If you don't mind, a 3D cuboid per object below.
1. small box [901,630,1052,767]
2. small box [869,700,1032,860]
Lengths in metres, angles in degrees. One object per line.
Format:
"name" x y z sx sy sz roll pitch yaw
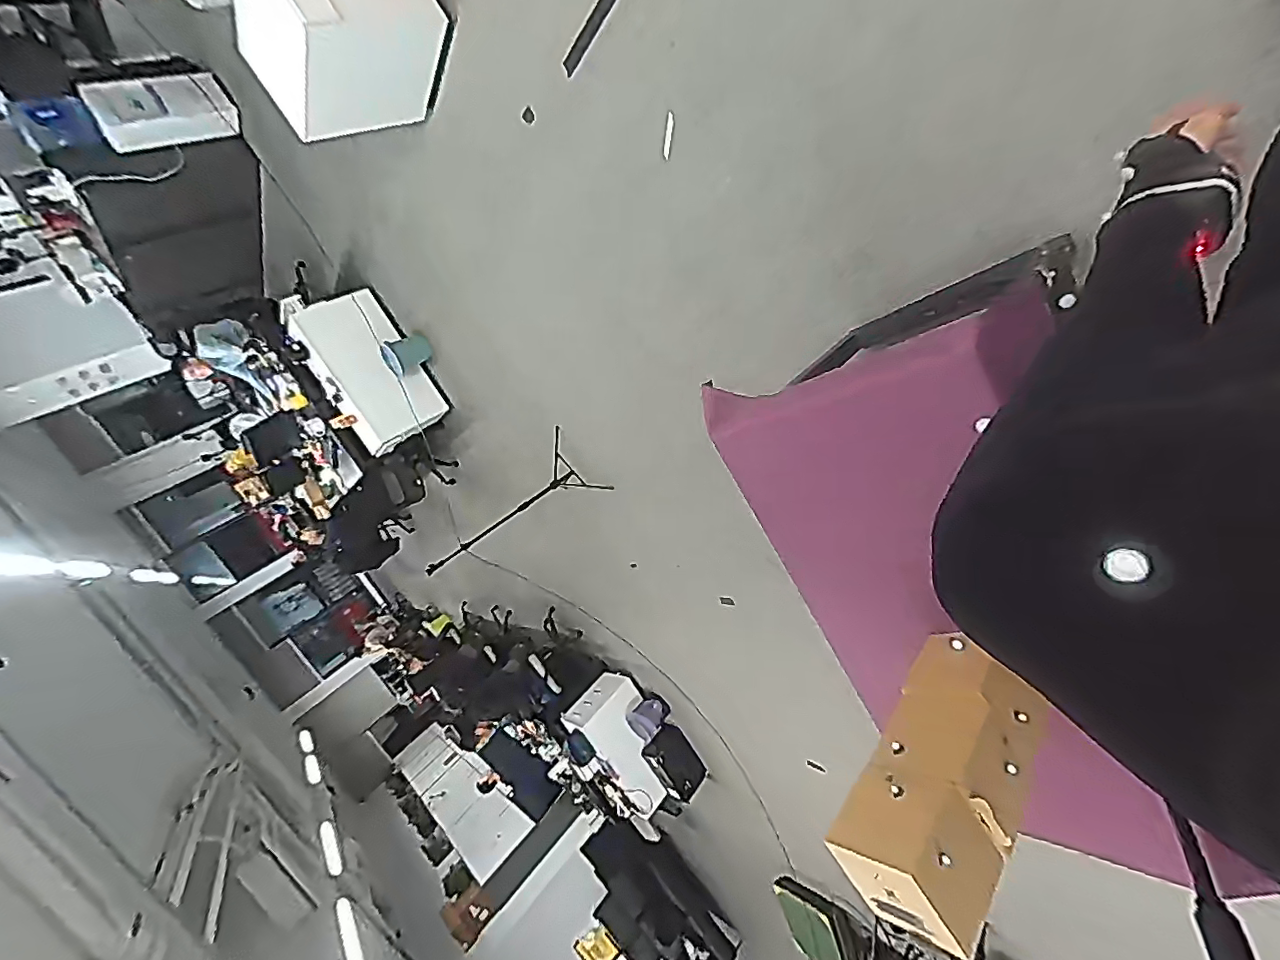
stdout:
"small box" 0.662 0.420 1.059 0.179 0.176 0.168 53 147 -2
"small box" 0.562 0.526 0.979 0.168 0.176 0.179 55 147 -7
